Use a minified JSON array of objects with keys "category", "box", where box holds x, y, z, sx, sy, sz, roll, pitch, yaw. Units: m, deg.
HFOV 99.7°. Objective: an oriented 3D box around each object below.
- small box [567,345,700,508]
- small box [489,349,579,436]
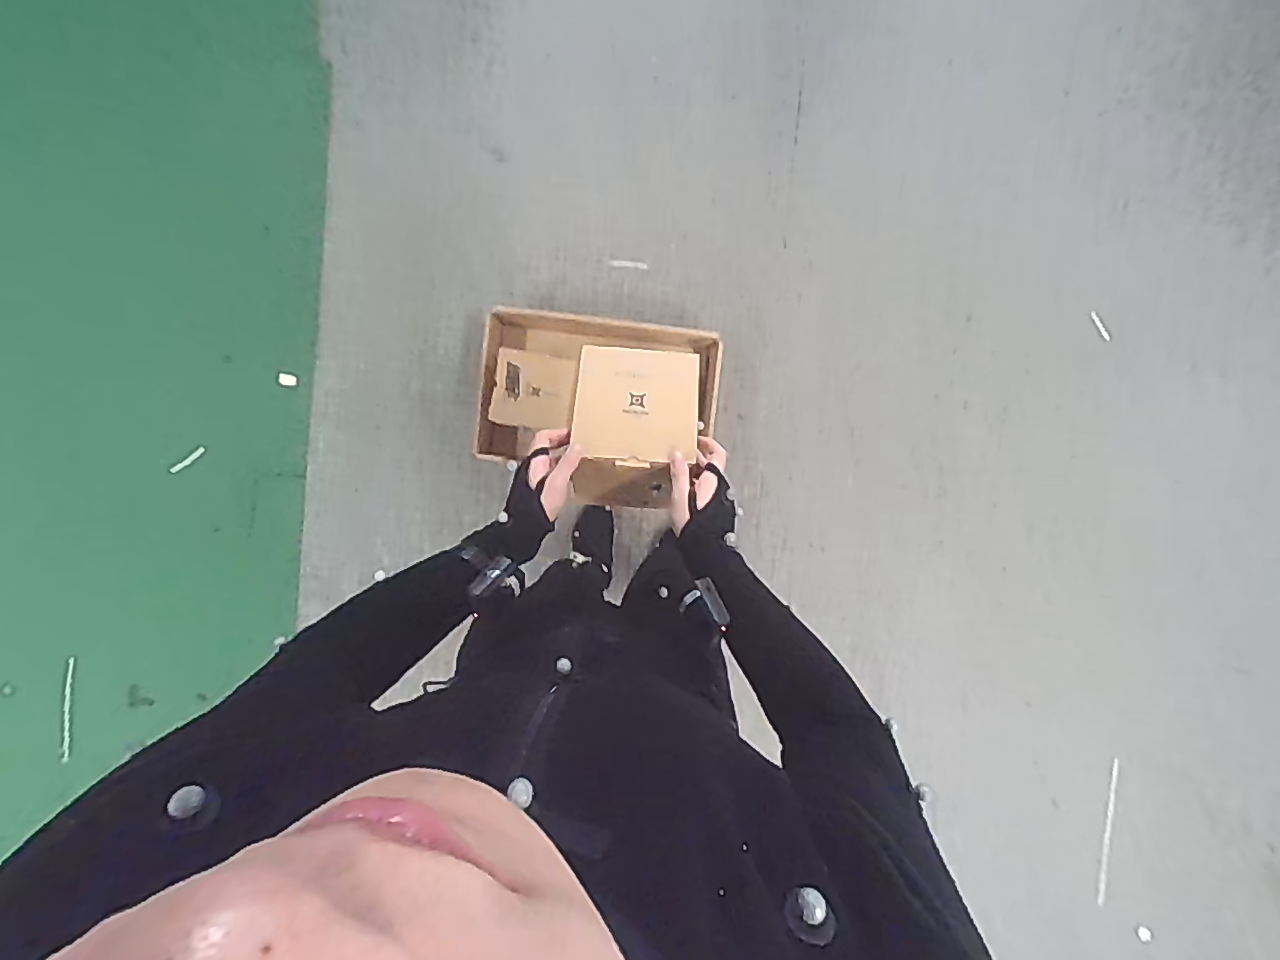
[{"category":"small box","box":[-0.007,-0.068,0.779,0.168,0.176,0.179,4,67,-1]},{"category":"small box","box":[-0.241,-0.199,1.282,0.179,0.176,0.168,10,92,-3]}]
